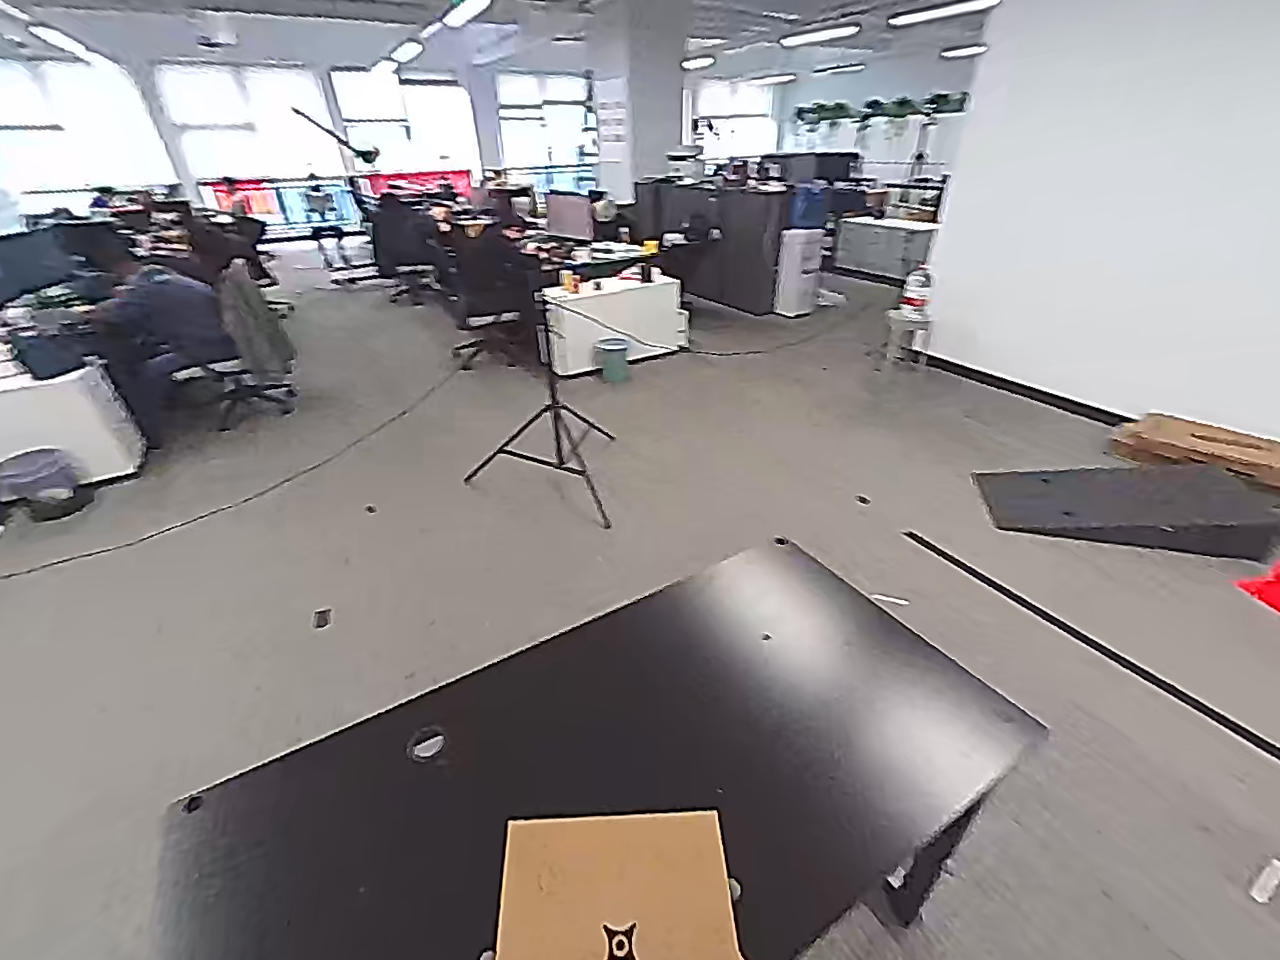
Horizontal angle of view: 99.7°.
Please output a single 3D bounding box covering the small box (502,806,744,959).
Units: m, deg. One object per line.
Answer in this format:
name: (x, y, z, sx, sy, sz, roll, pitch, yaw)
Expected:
small box: (-0.017, 0.377, 0.416, 0.168, 0.176, 0.179, 0, 42, -5)
